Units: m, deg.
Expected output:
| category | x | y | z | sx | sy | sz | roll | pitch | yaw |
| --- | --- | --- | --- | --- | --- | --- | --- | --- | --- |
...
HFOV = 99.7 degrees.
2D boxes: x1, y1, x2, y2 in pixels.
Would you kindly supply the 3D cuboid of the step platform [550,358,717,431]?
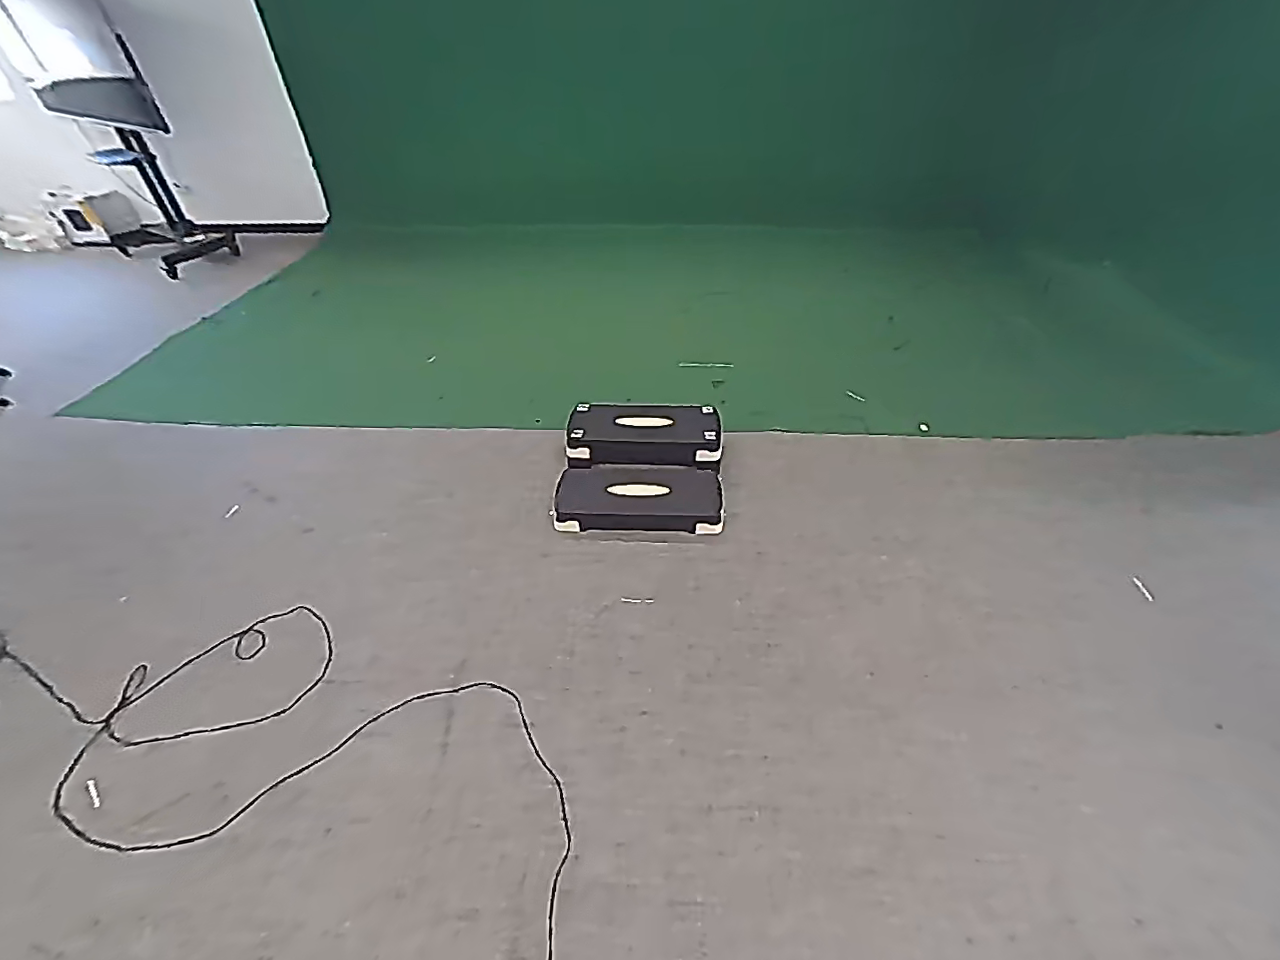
| category | x | y | z | sx | sy | sz | roll | pitch | yaw |
| --- | --- | --- | --- | --- | --- | --- | --- | --- | --- |
| step platform | -0.025 | -0.361 | 2.288 | 0.684 | 0.204 | 0.286 | 0 | 41 | 3 |
